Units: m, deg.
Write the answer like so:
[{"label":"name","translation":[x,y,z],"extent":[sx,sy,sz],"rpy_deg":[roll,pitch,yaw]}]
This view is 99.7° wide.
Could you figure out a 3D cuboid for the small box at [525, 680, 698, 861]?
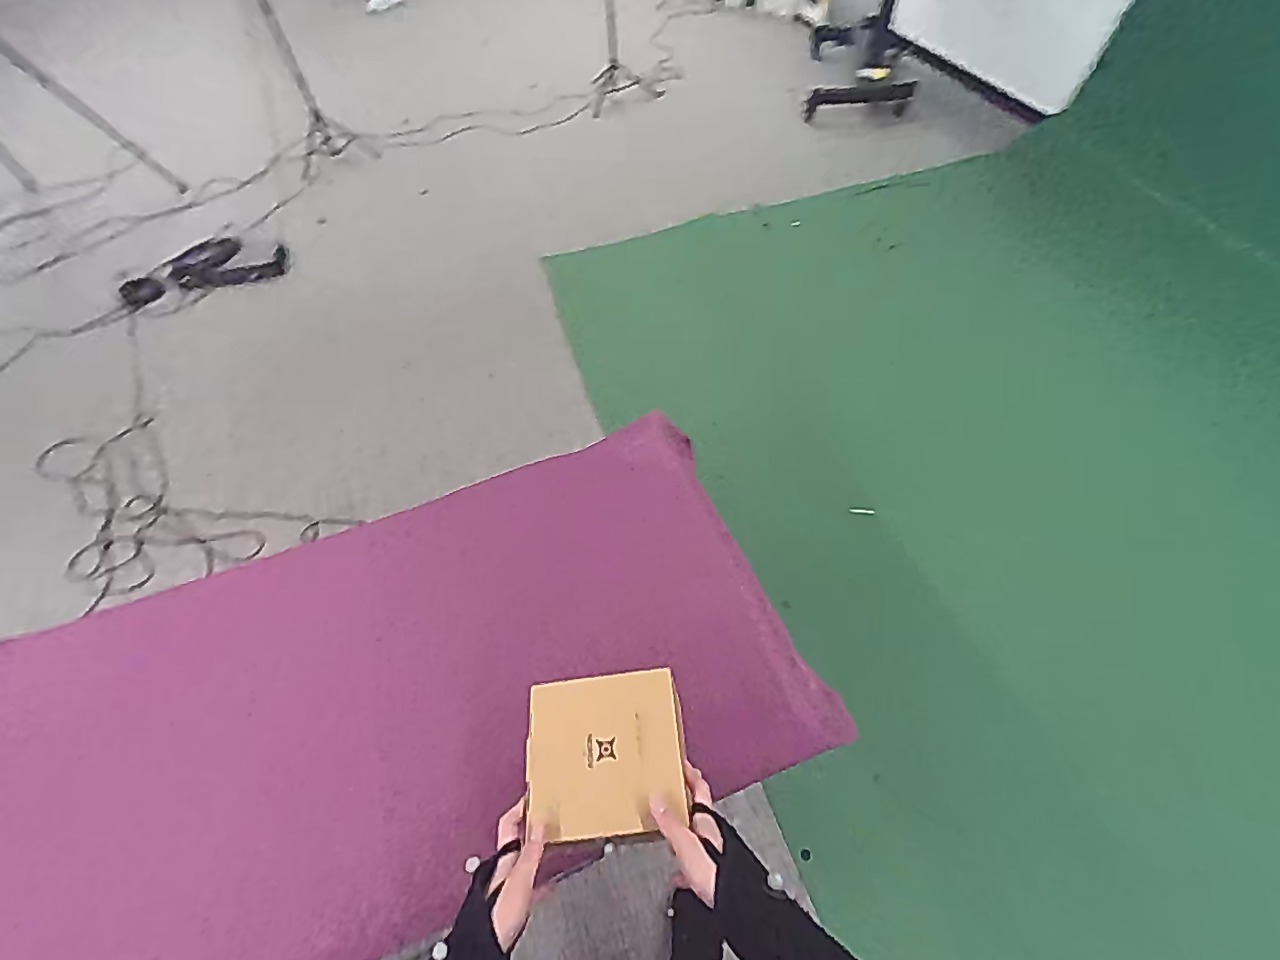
[{"label":"small box","translation":[-0.028,0.360,0.663],"extent":[0.179,0.176,0.168],"rpy_deg":[-7,53,3]}]
